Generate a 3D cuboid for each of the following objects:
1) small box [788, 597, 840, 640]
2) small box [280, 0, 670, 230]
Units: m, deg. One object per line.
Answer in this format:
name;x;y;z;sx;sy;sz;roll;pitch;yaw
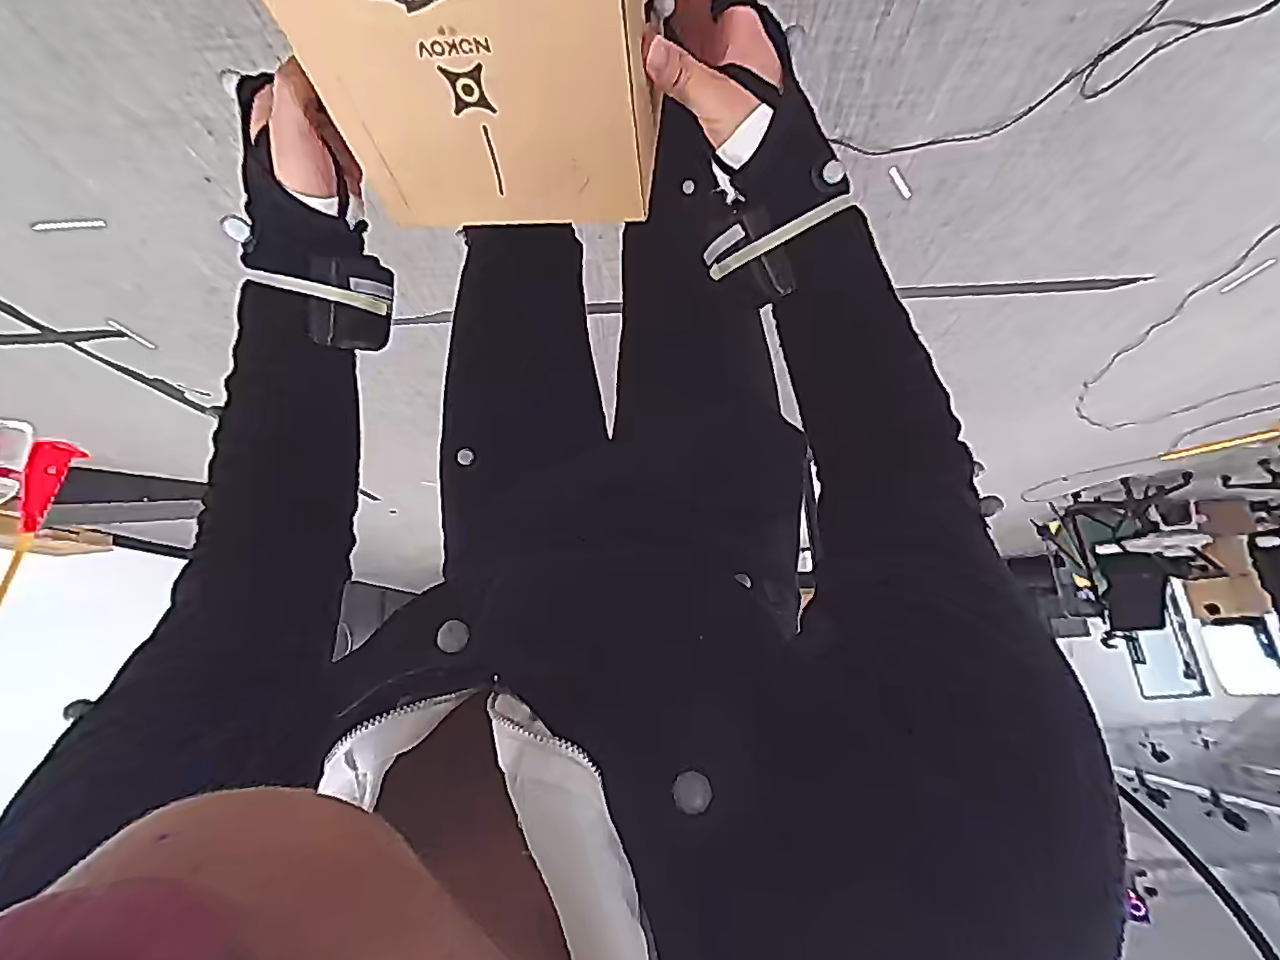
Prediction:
small box;0.726;0.583;2.277;0.168;0.176;0.179;-3;163;5
small box;-0.071;-0.269;0.297;0.168;0.176;0.179;2;153;7
